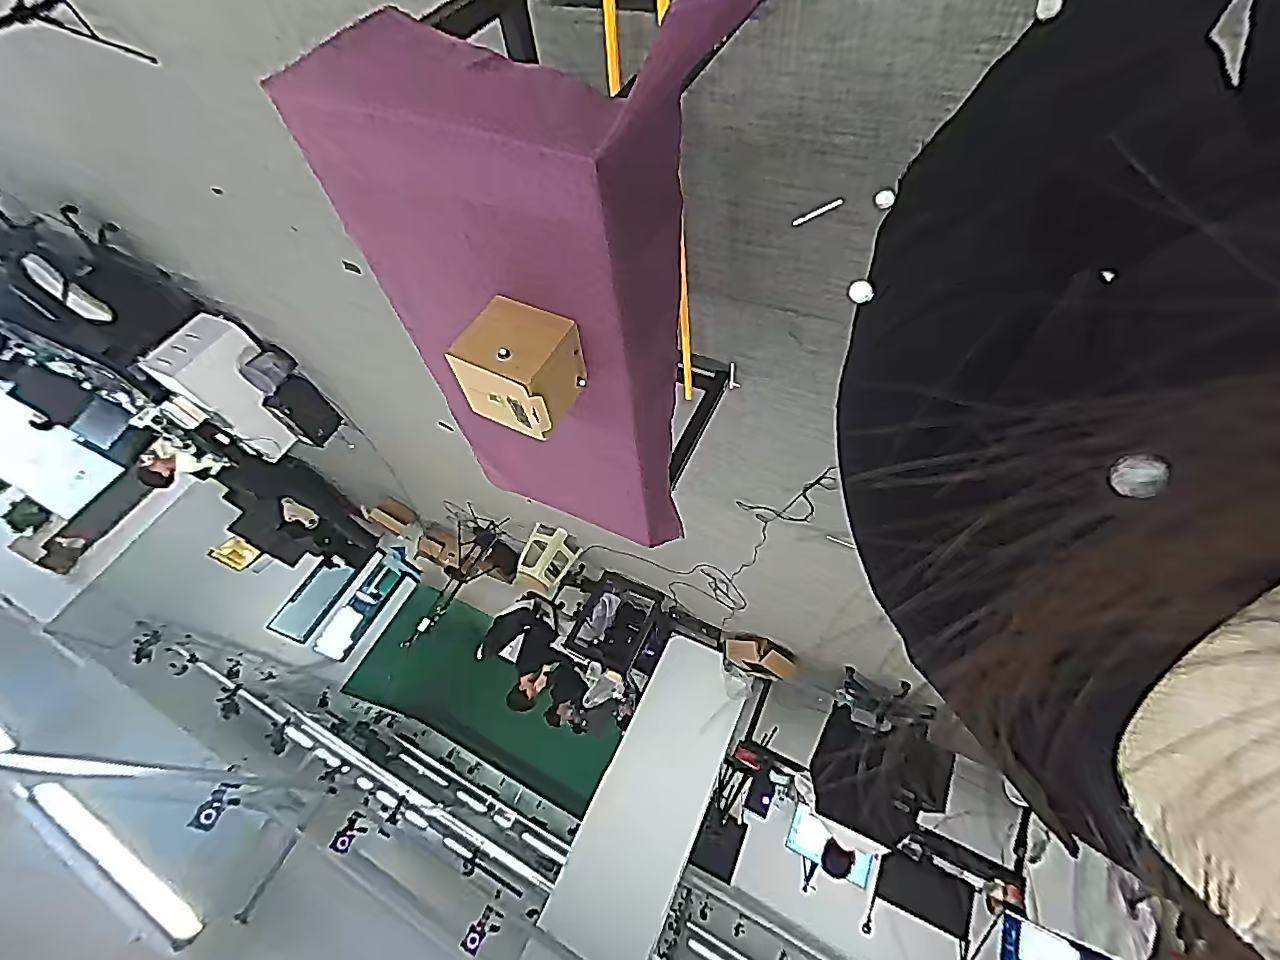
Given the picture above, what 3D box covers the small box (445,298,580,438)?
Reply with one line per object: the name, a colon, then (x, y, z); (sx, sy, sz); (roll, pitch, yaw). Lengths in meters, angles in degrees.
small box: (-0.226, -0.215, 1.022); (0.179, 0.176, 0.168); (23, 153, 15)
